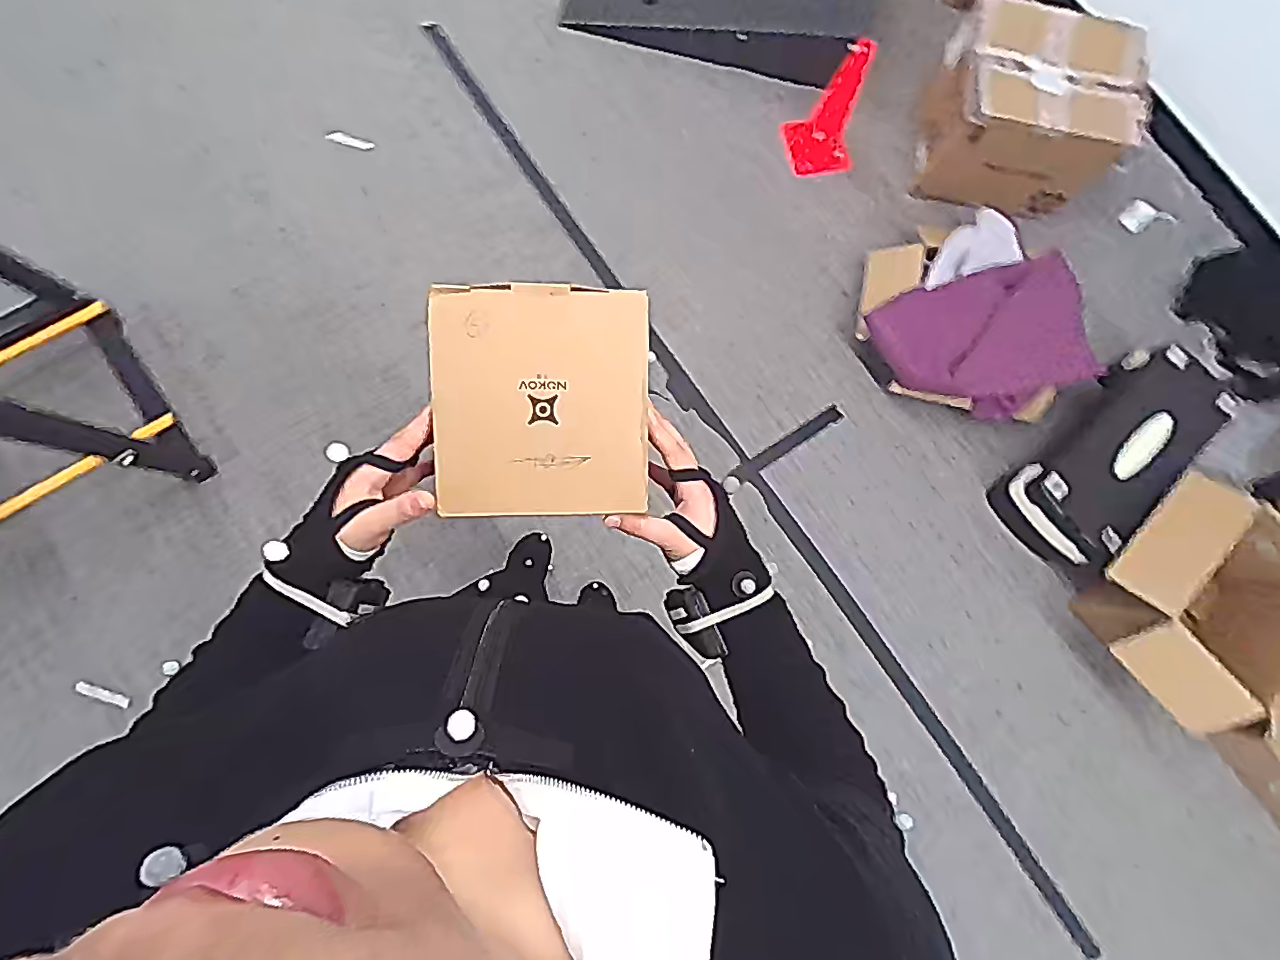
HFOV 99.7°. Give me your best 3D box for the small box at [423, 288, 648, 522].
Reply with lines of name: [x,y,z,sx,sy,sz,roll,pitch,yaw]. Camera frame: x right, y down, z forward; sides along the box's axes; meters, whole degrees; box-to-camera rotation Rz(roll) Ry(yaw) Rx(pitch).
small box: [-0.085,-0.065,0.489,0.168,0.176,0.179,-2,97,-6]
